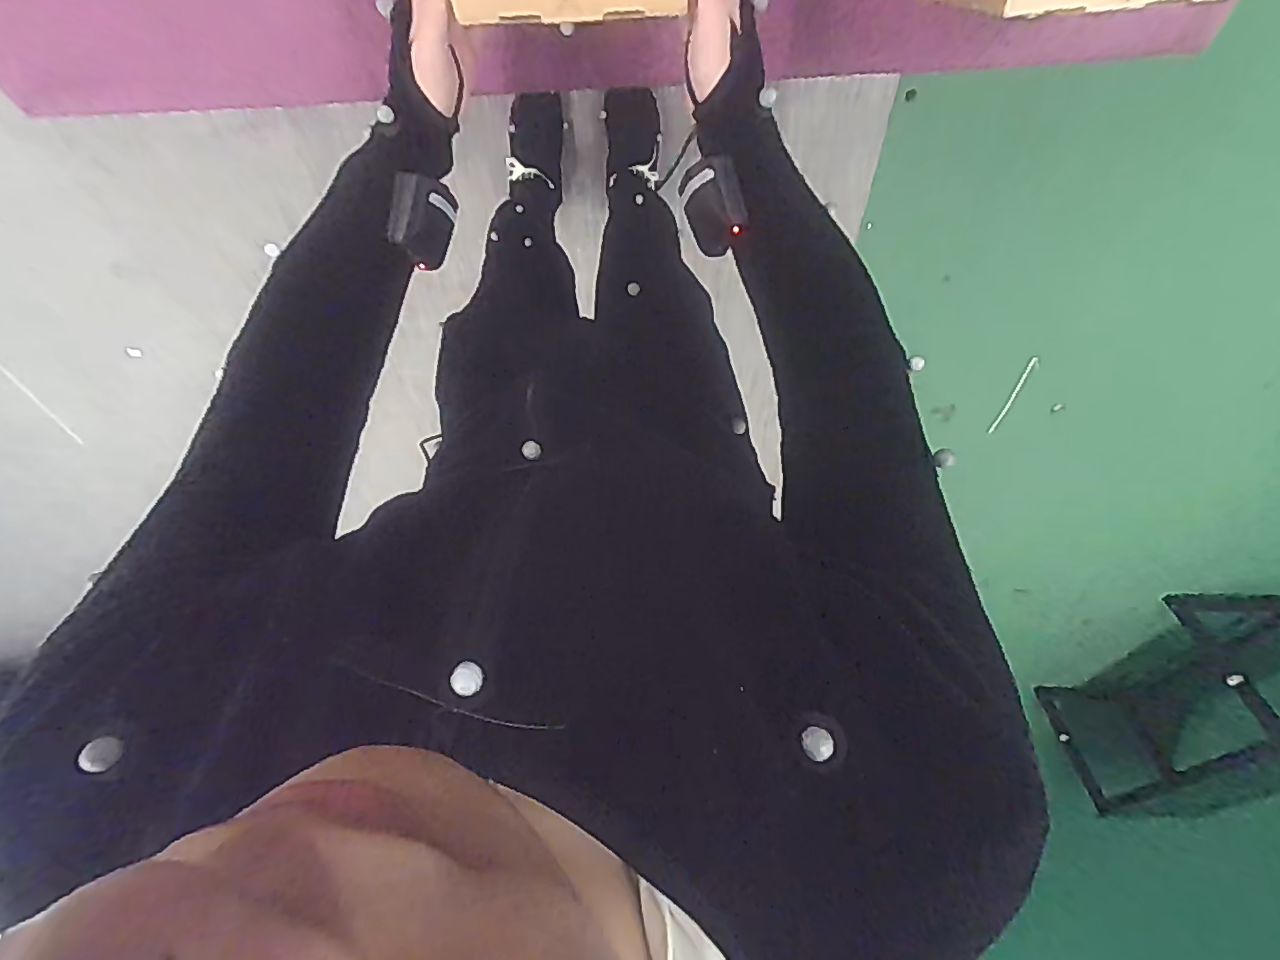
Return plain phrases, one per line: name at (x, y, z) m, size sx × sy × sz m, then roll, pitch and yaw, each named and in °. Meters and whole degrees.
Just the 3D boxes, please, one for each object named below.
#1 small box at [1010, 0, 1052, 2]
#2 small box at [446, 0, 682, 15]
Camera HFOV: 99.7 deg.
small box at (0.332, -0.459, 0.375) m, size 0.168 × 0.176 × 0.179 m, roll -2°, pitch 137°, yaw 3°
small box at (-0.058, -0.443, 0.375) m, size 0.168 × 0.176 × 0.179 m, roll -3°, pitch 133°, yaw 0°
